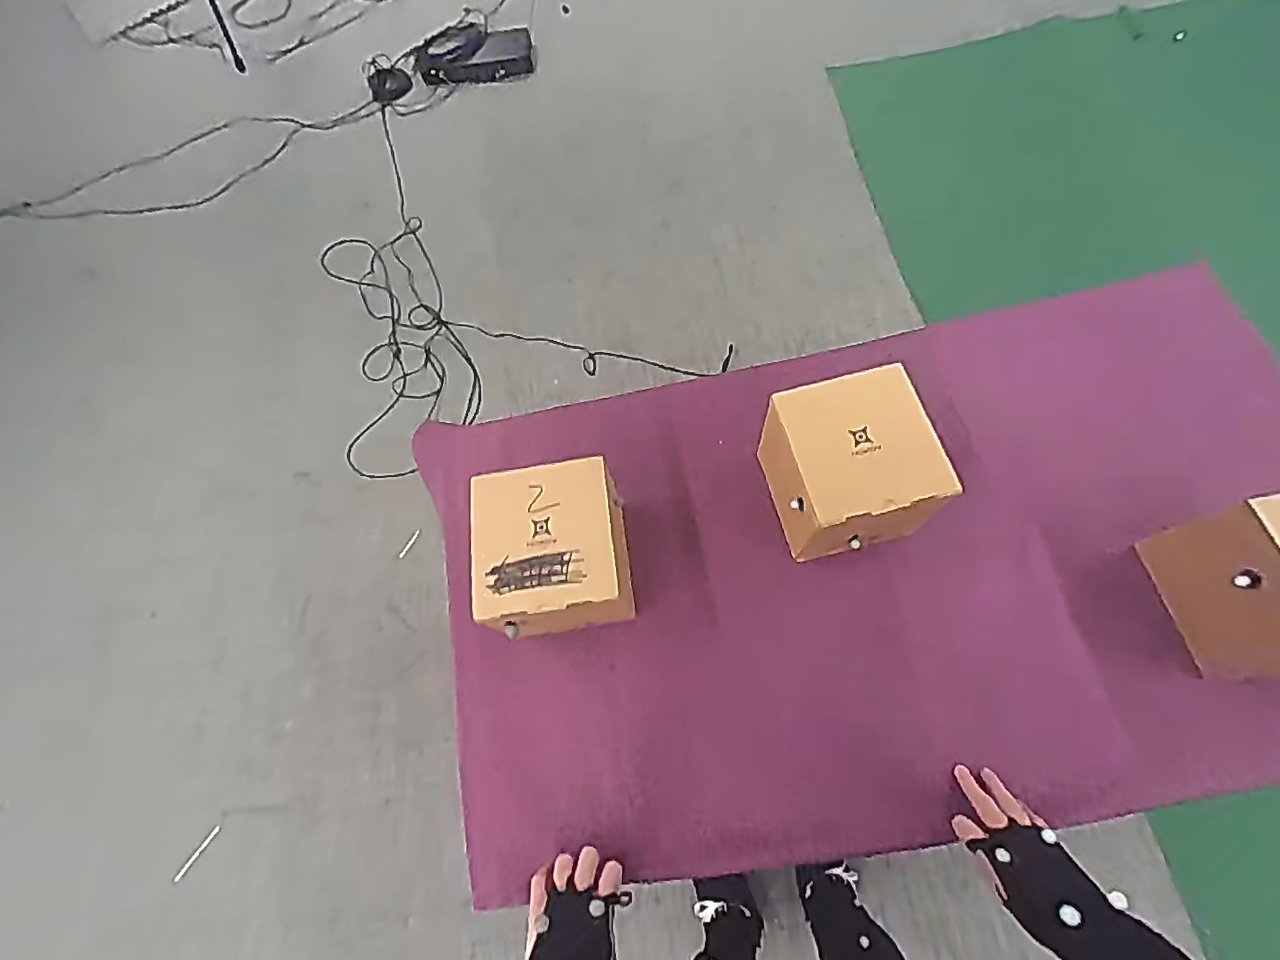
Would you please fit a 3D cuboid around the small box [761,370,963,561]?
[{"bbox_3d":[0.266,-0.011,0.700,0.168,0.176,0.179,-14,69,0],"label":"small box"}]

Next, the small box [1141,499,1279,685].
[{"bbox_3d":[0.725,0.122,0.597,0.168,0.176,0.179,-9,67,3],"label":"small box"}]
